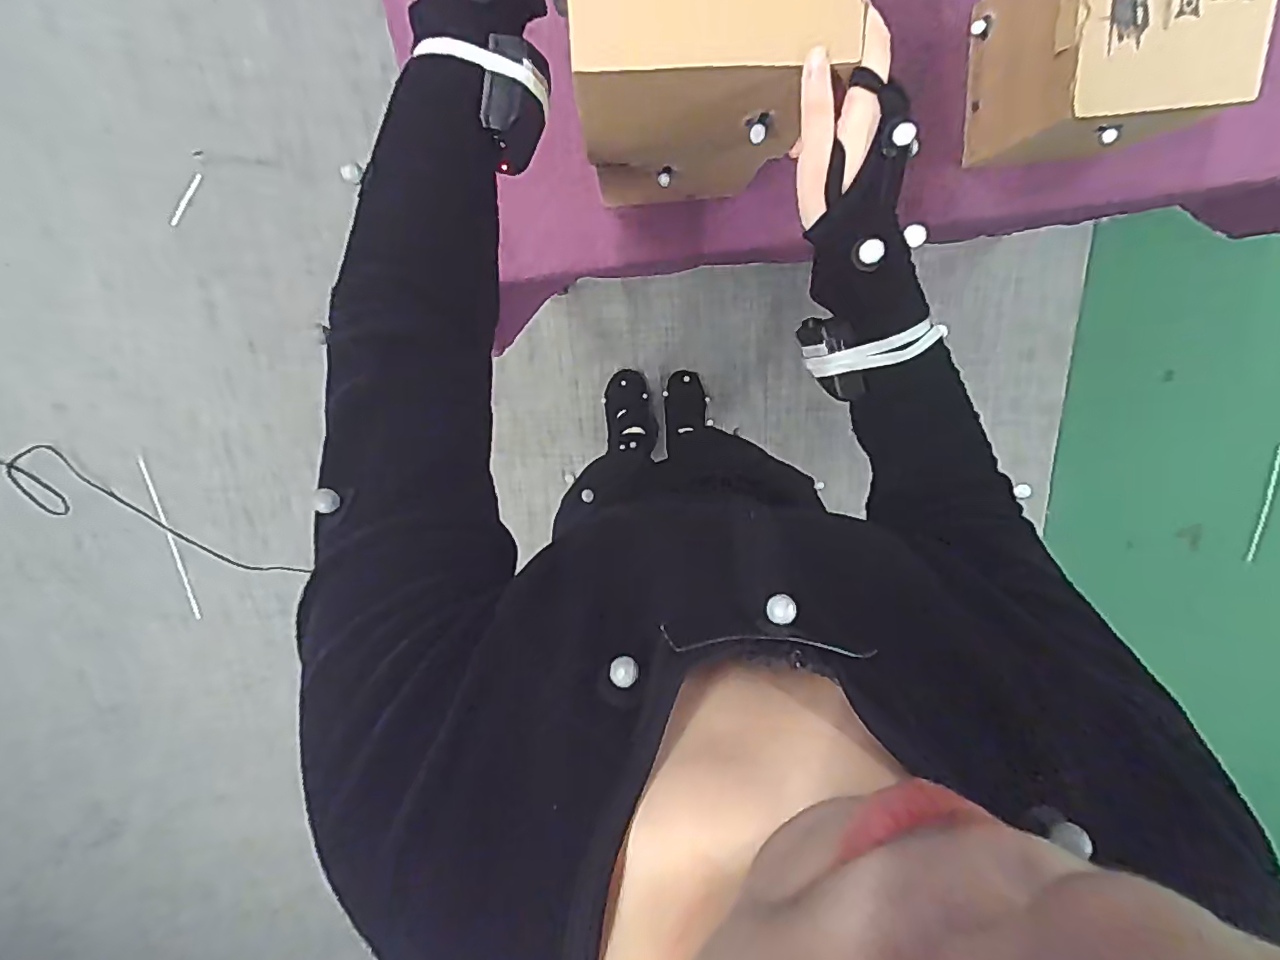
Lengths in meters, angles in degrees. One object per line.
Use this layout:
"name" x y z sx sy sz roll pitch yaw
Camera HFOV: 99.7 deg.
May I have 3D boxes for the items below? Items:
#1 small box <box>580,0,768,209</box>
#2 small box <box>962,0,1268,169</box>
"small box" 0.029 -0.395 0.553 0.168 0.176 0.179 -5 106 0
"small box" 0.463 -0.434 0.552 0.179 0.176 0.168 -6 107 0
